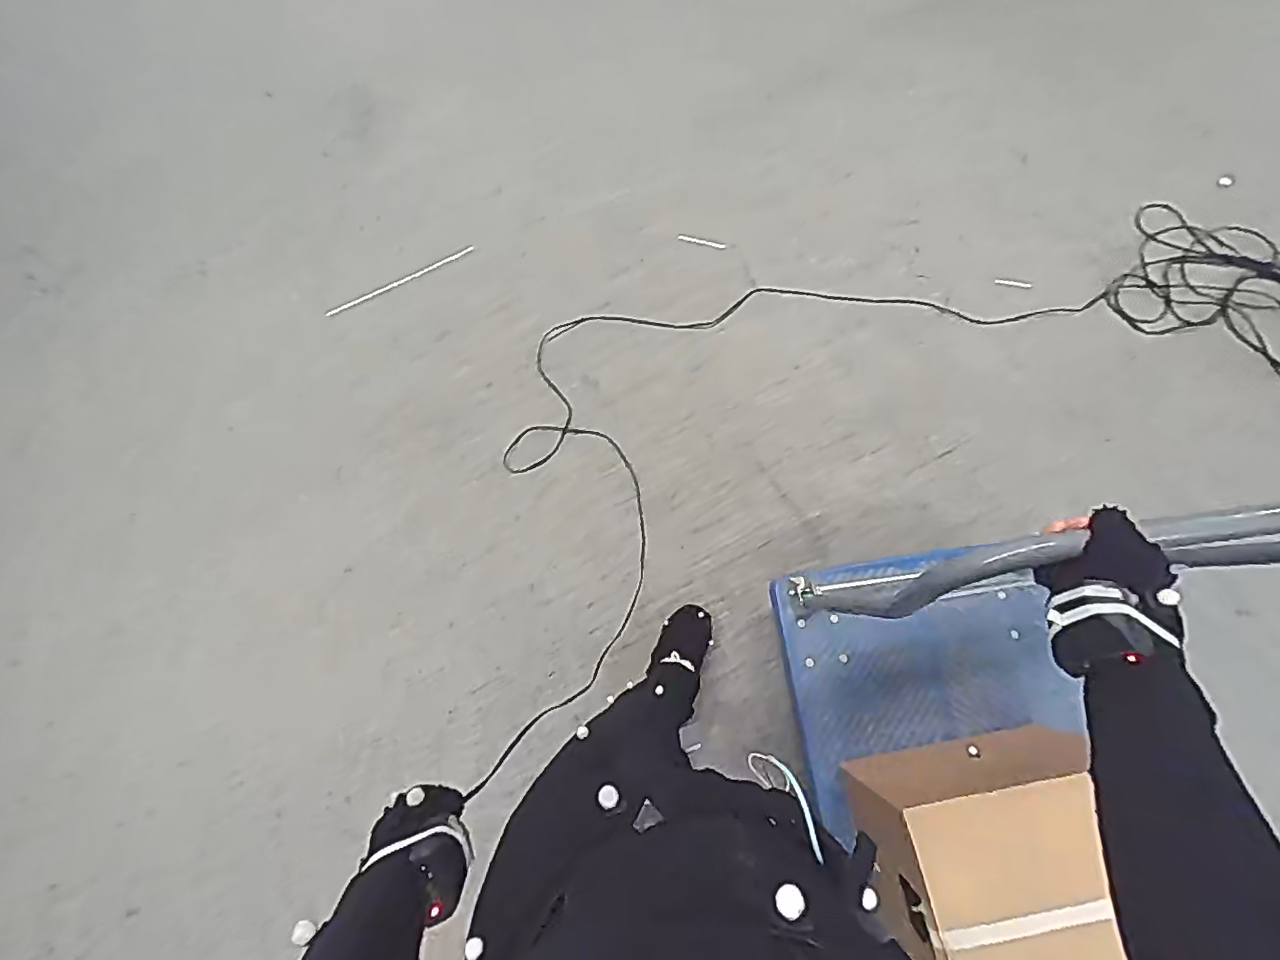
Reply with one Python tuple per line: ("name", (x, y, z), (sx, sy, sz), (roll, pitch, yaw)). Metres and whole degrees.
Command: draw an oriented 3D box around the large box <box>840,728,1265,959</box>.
("large box", (0.601, 0.619, 0.865), (0.408, 0.320, 0.320), (-12, 73, -1))
